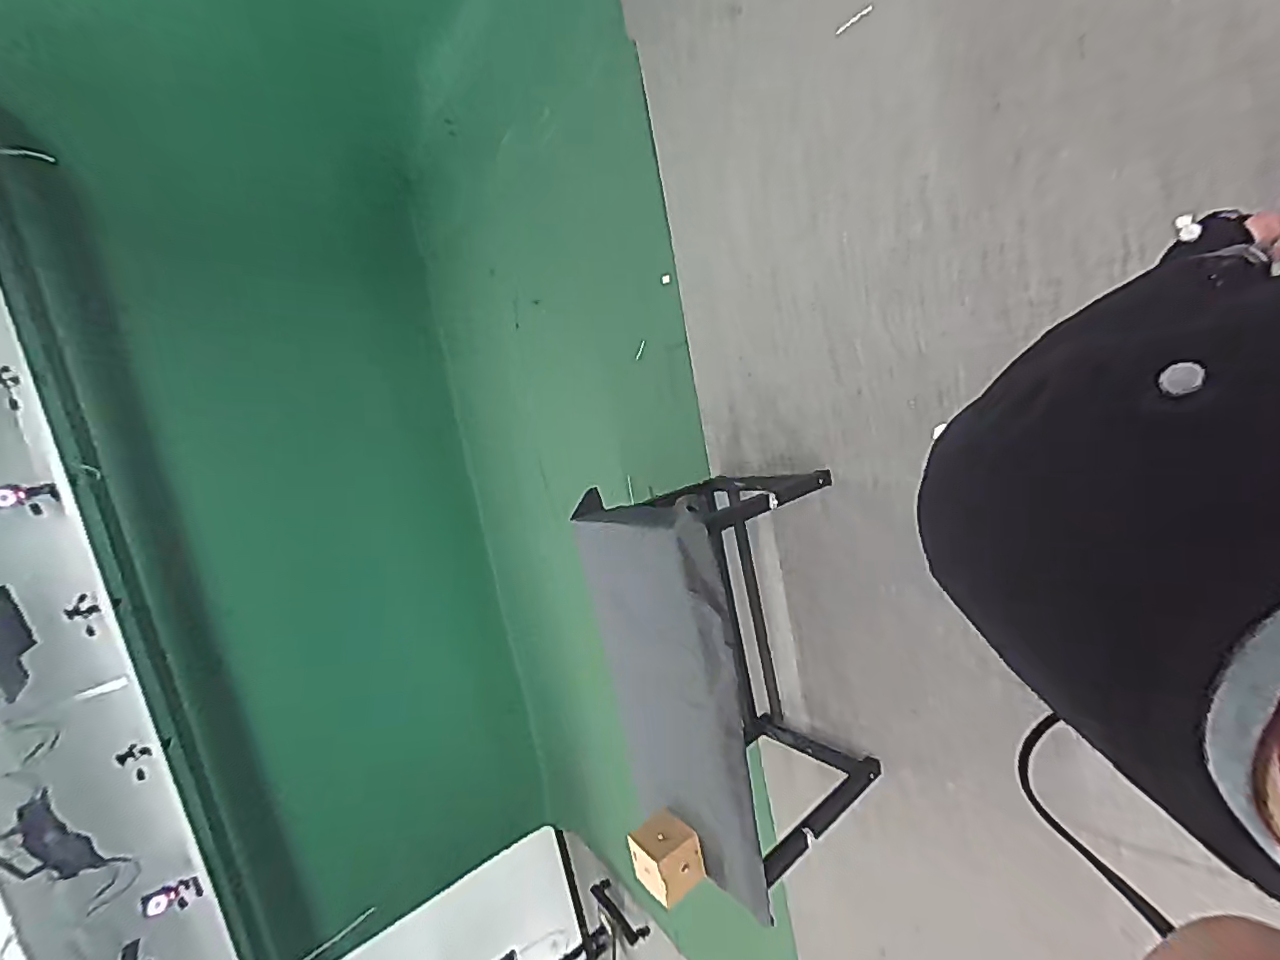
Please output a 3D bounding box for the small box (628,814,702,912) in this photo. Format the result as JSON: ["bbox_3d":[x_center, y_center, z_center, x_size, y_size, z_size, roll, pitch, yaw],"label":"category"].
[{"bbox_3d":[0.089,1.257,1.794,0.179,0.176,0.168,-3,100,54],"label":"small box"}]
